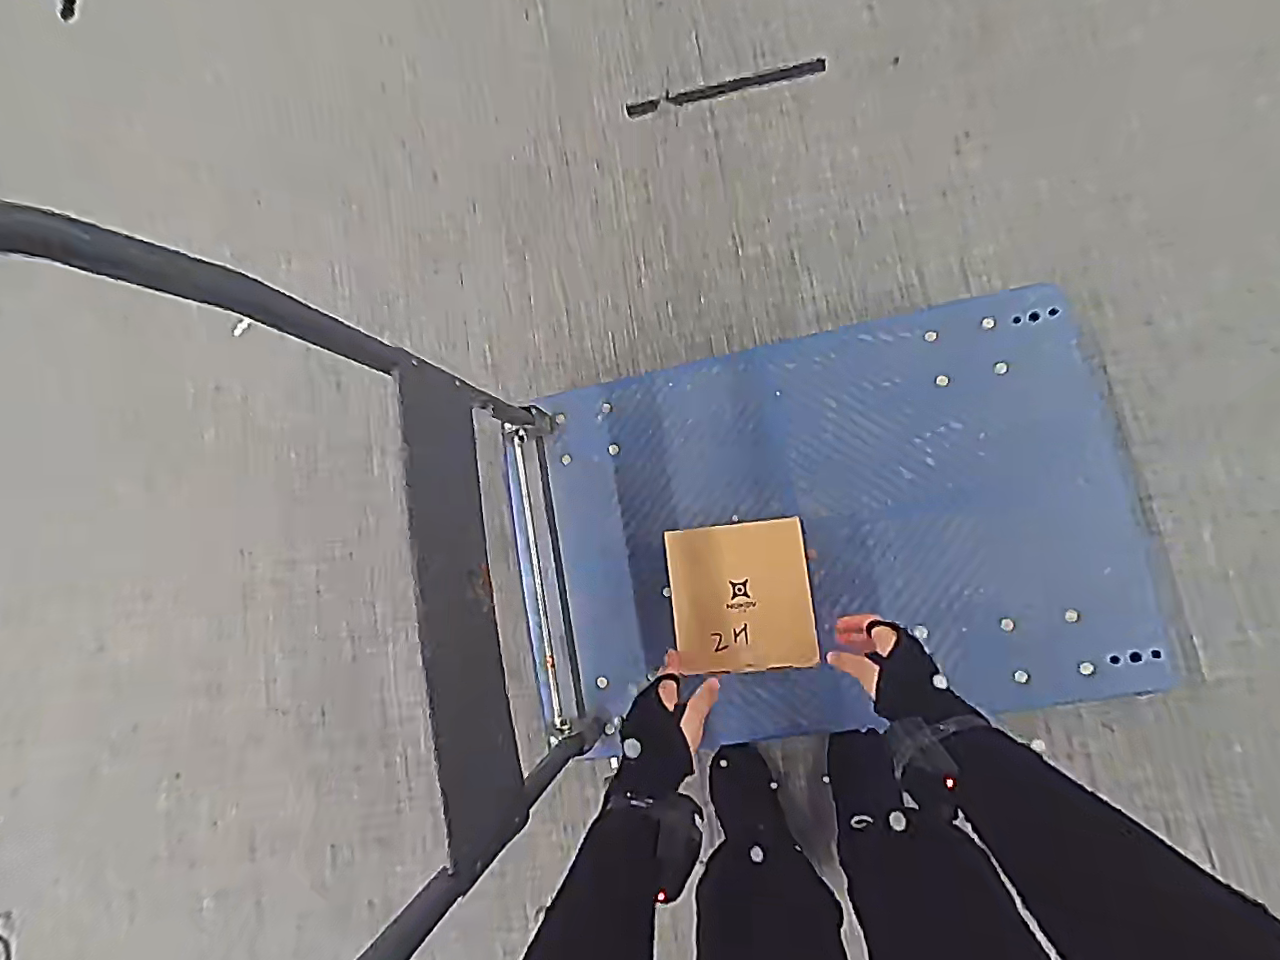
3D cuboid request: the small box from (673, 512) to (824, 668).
[{"bbox_3d":[0.140,0.142,0.727,0.168,0.176,0.179,-7,83,10],"label":"small box"}]
